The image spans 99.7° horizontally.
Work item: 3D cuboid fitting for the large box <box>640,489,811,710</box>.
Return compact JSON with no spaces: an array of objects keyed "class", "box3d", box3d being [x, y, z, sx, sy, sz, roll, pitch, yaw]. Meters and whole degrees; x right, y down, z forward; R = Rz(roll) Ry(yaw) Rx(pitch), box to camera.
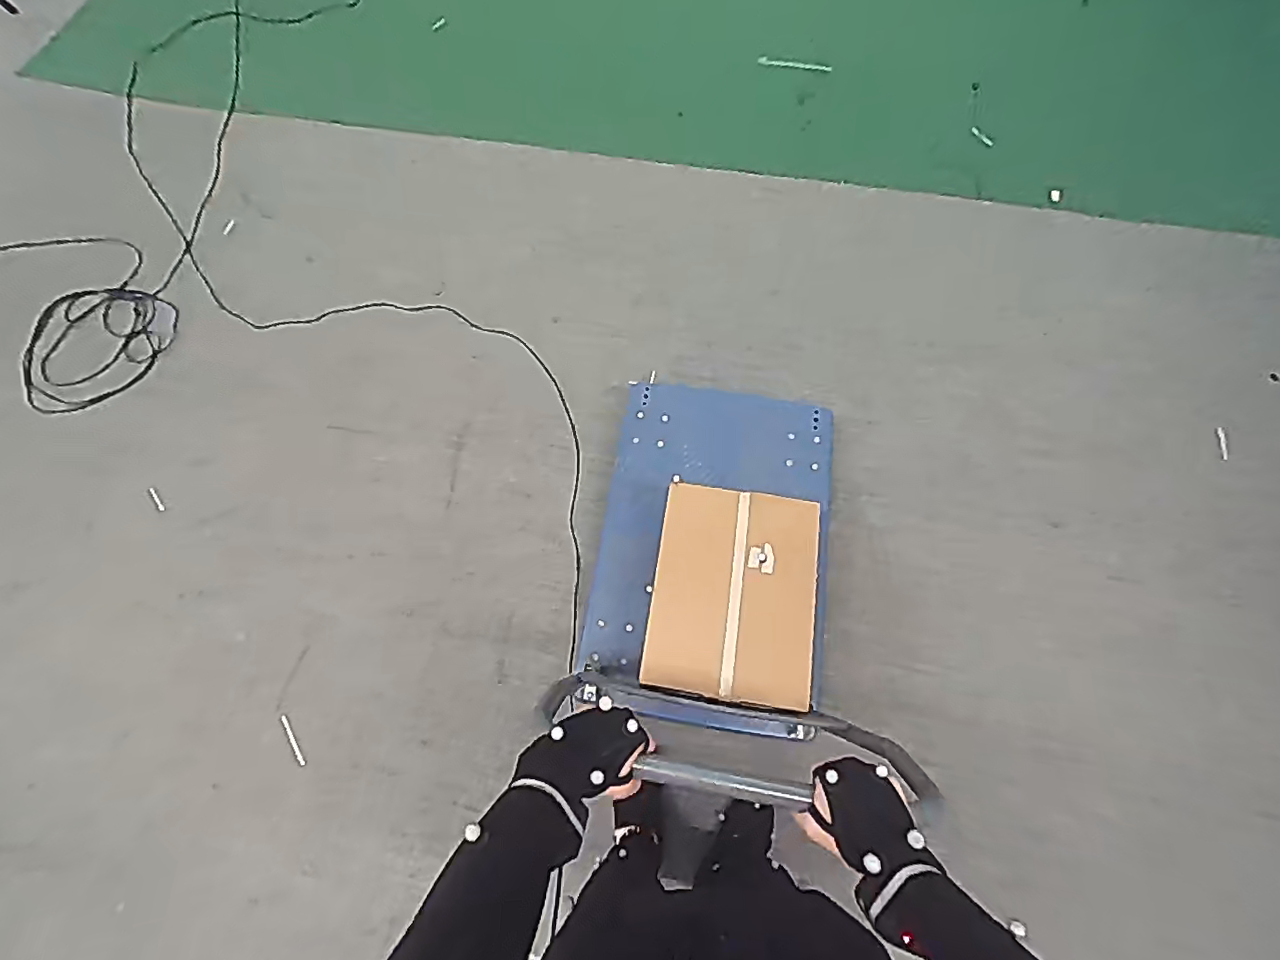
[{"class":"large box","box3d":[0.181,0.275,1.198,0.320,0.320,0.408,8,68,3]}]
